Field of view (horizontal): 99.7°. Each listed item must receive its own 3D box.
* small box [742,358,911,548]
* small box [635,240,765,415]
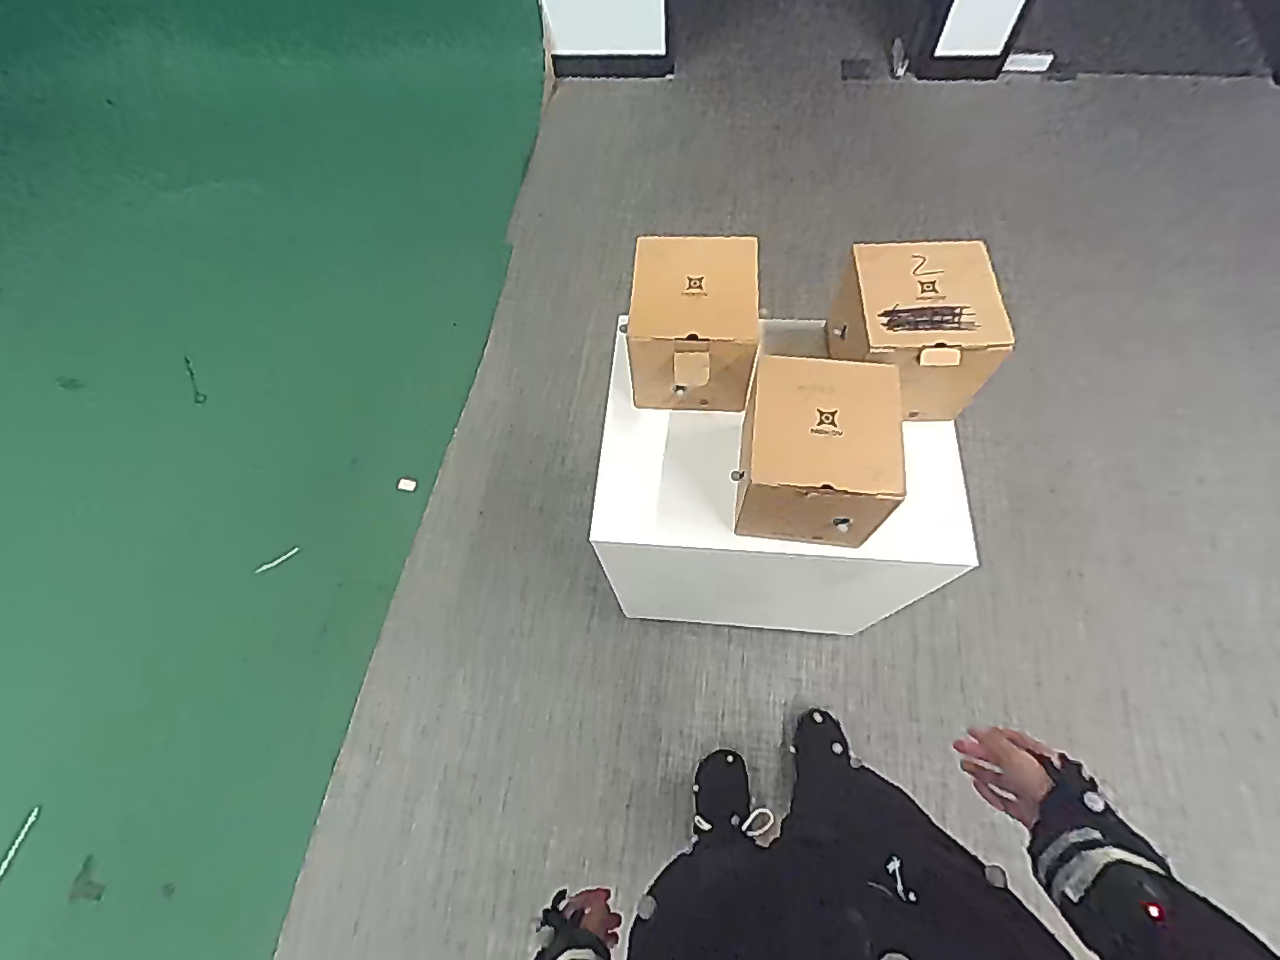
[{"bbox_3d":[0.222,-0.027,0.678,0.168,0.176,0.179,7,64,7],"label":"small box"},{"bbox_3d":[0.084,-0.214,0.777,0.168,0.176,0.179,3,67,5],"label":"small box"}]
